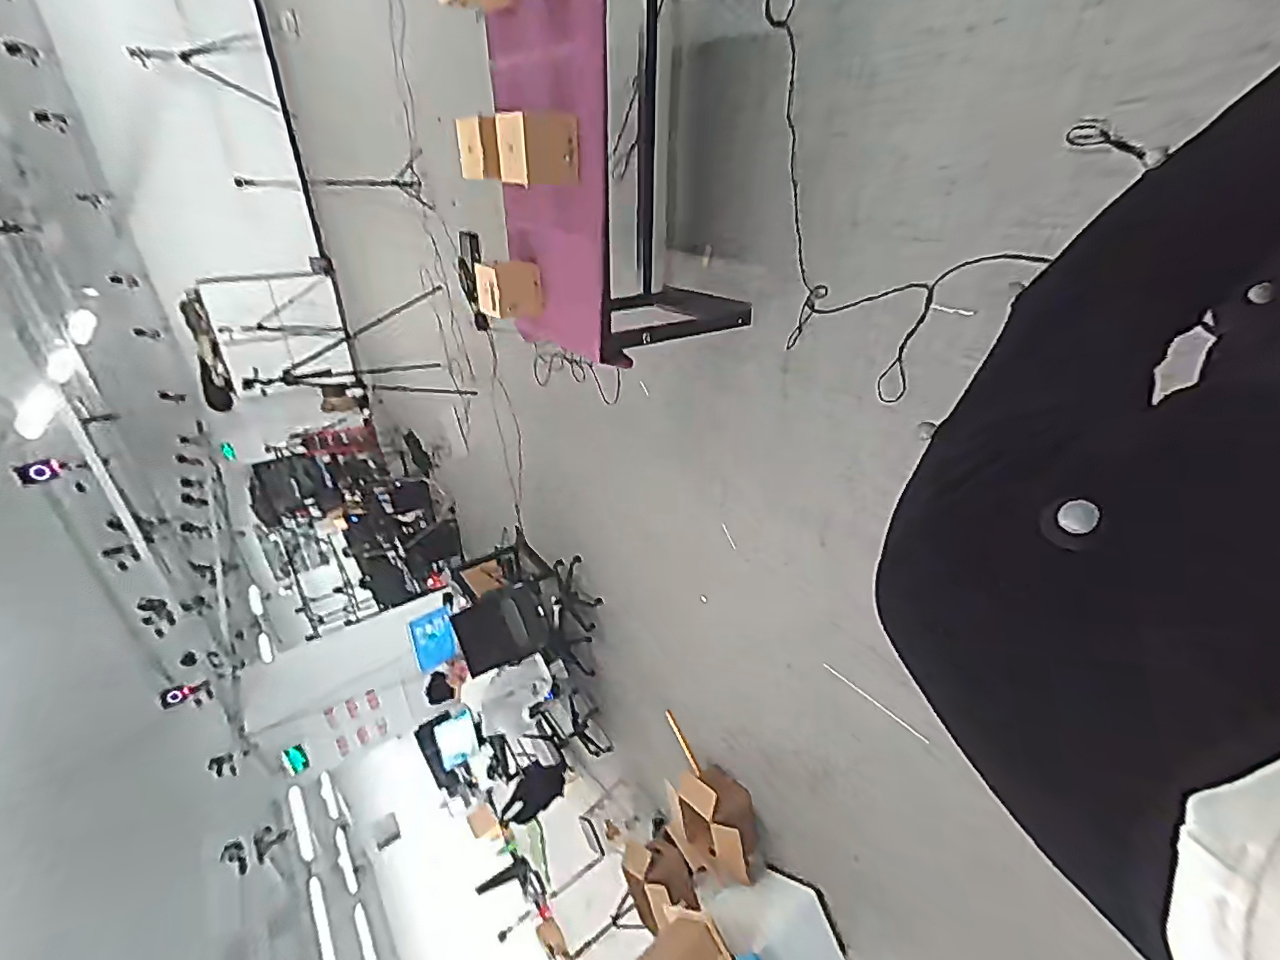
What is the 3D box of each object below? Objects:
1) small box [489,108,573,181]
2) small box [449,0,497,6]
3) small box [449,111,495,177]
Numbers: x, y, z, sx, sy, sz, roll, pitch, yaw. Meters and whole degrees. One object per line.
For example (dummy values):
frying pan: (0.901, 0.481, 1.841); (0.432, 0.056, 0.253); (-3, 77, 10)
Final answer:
small box: (-0.301, -0.934, 1.510); (0.179, 0.176, 0.168); (35, 135, 43)
small box: (-0.485, -1.443, 1.497); (0.179, 0.176, 0.168); (33, 135, 42)
small box: (-0.481, -1.057, 1.712); (0.179, 0.176, 0.168); (31, 131, 43)
